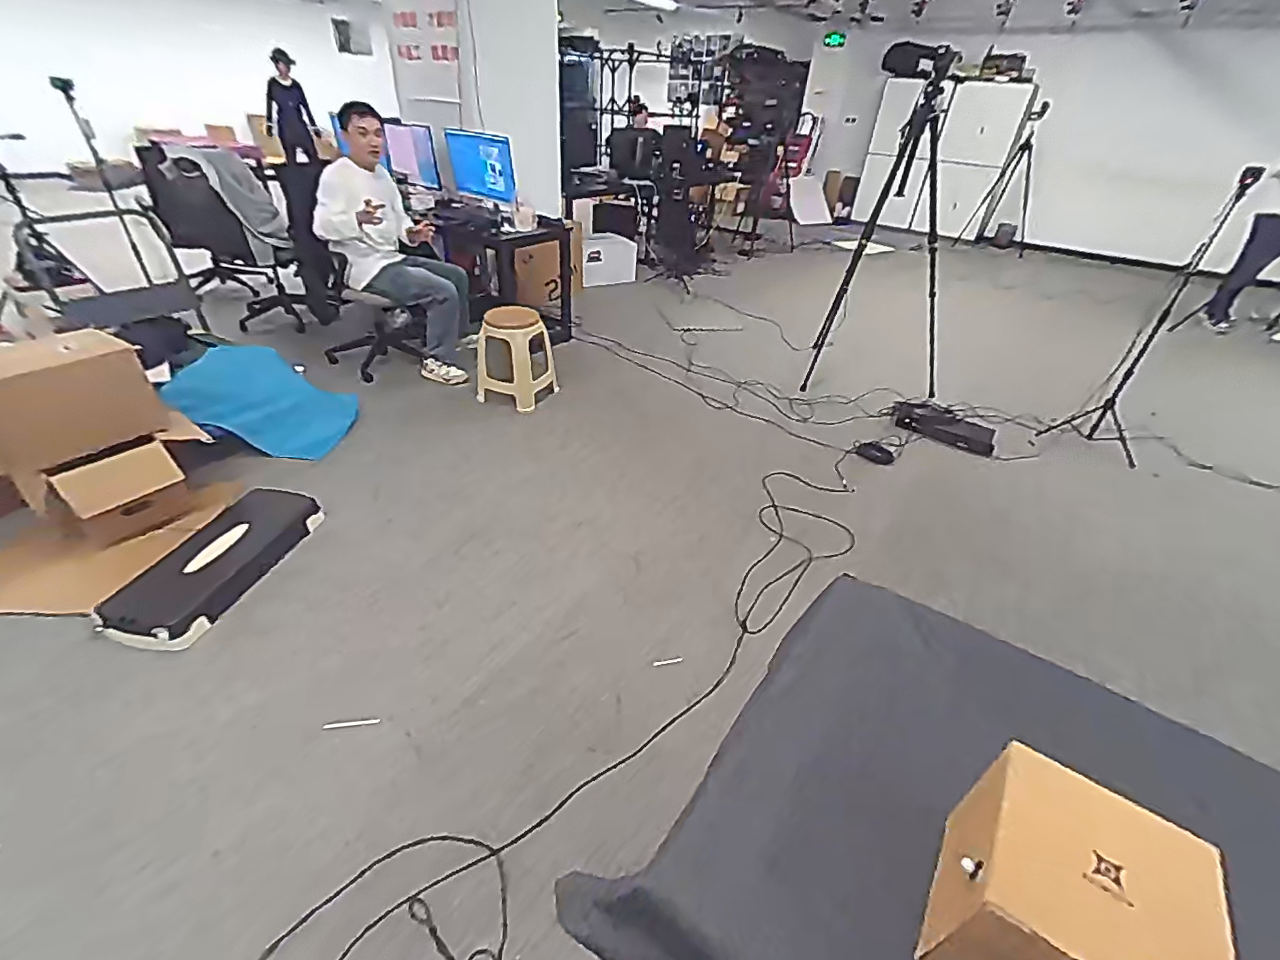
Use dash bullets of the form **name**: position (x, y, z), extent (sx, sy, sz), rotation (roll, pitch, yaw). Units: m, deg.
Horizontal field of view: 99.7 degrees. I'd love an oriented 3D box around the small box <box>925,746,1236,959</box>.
- **small box**: position (0.394, 0.404, 0.507), extent (0.168, 0.176, 0.179), rotation (25, 40, 26)
